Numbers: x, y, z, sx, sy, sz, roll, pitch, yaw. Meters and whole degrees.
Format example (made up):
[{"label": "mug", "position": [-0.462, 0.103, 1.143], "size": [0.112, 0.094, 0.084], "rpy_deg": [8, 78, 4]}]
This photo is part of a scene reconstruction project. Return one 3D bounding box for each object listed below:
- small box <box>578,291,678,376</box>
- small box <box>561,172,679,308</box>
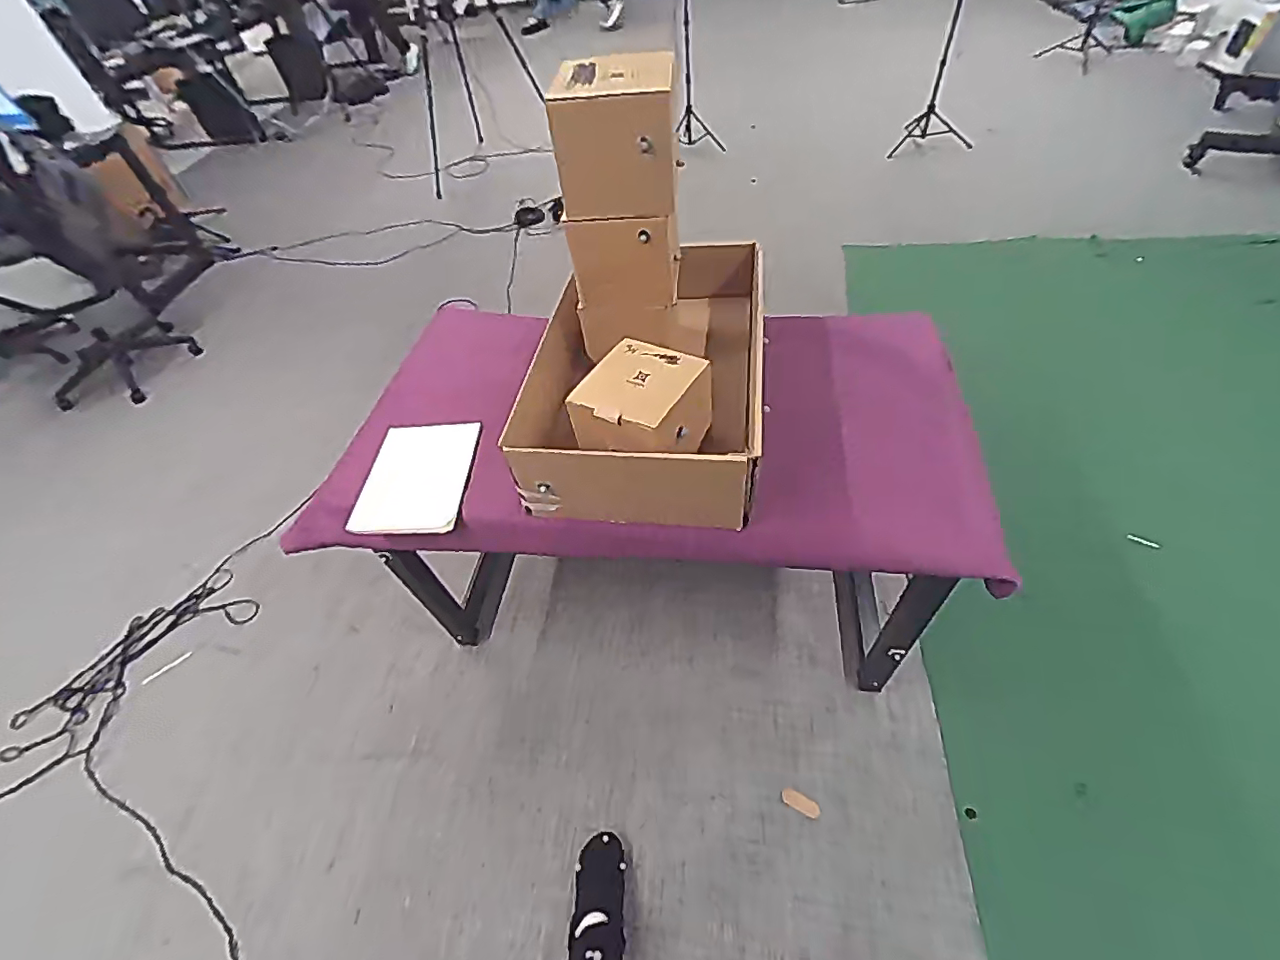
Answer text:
[{"label": "small box", "position": [-0.013, -0.327, 1.099], "size": [0.168, 0.176, 0.179], "rpy_deg": [3, 53, 10]}, {"label": "small box", "position": [-0.025, -0.424, 0.970], "size": [0.179, 0.176, 0.168], "rpy_deg": [1, 53, 8]}]
